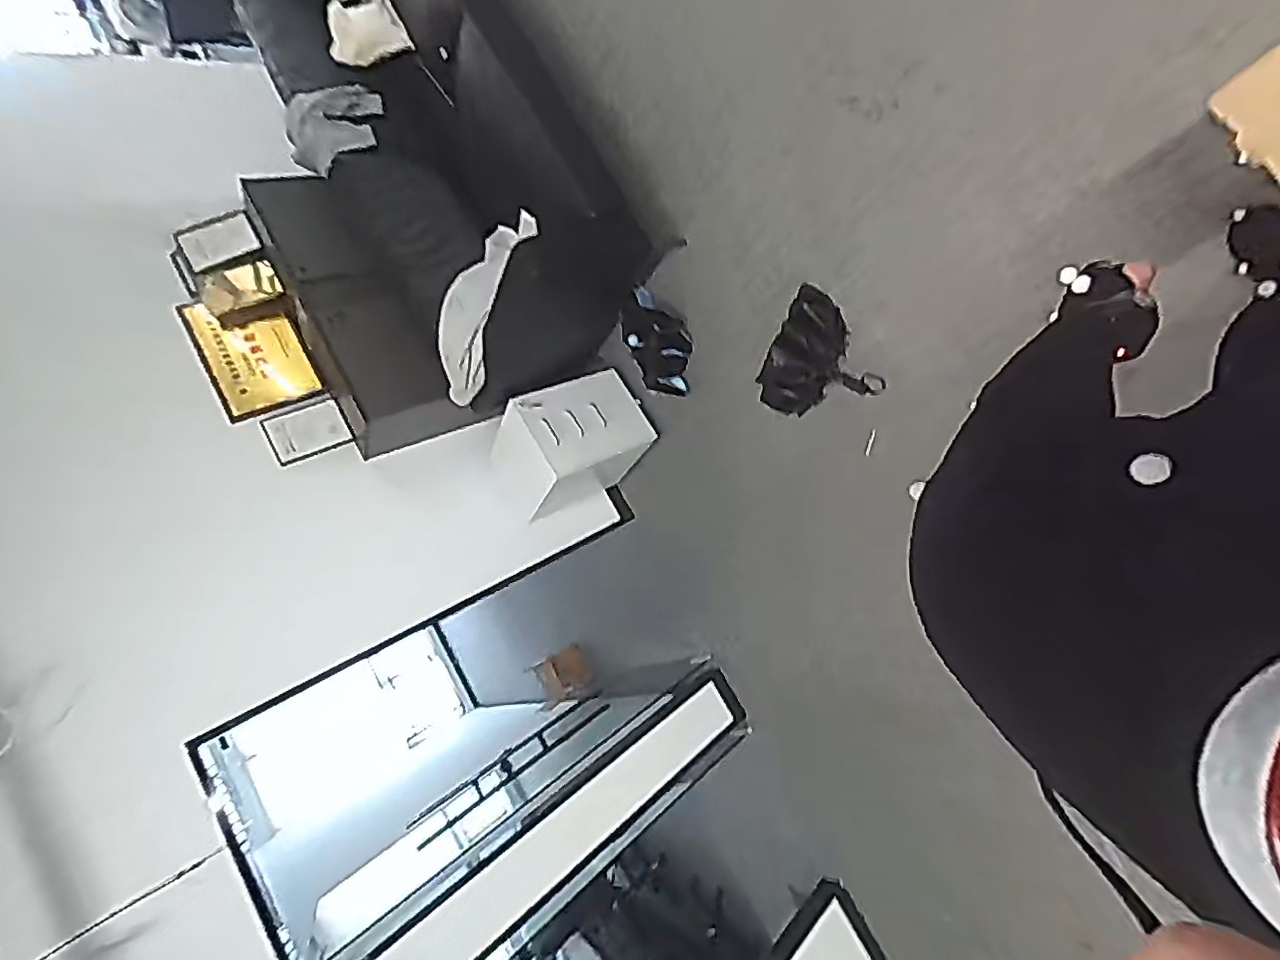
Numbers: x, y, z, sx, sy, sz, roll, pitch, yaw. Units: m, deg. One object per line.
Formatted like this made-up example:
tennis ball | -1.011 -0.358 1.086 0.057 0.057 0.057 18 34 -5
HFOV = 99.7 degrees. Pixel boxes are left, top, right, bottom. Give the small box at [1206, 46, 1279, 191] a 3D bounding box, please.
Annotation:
small box | 0.849 -0.467 0.639 0.168 0.176 0.179 59 148 10
